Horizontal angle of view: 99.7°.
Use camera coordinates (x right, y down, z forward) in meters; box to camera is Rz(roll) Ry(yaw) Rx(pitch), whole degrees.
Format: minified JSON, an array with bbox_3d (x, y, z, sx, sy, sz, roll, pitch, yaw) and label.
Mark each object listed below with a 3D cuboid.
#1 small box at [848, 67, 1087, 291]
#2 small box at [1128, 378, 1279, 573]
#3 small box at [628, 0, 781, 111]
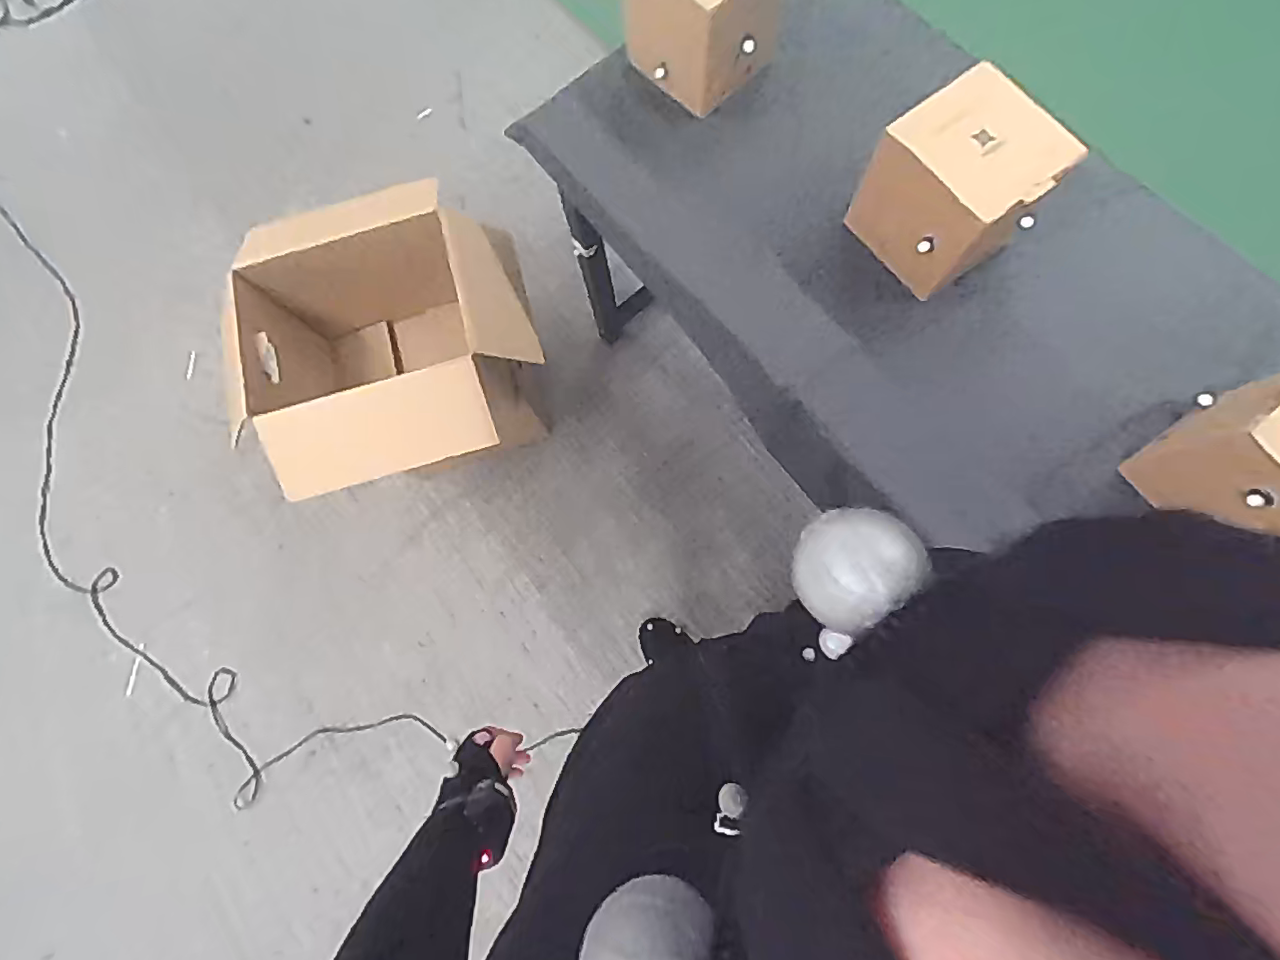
[{"bbox_3d":[0.417,-0.383,0.723,0.168,0.176,0.179,-36,76,-6],"label":"small box"},{"bbox_3d":[0.732,-0.008,0.613,0.168,0.176,0.179,-35,78,-4],"label":"small box"},{"bbox_3d":[0.099,-0.706,0.814,0.168,0.176,0.179,-44,79,-7],"label":"small box"}]
